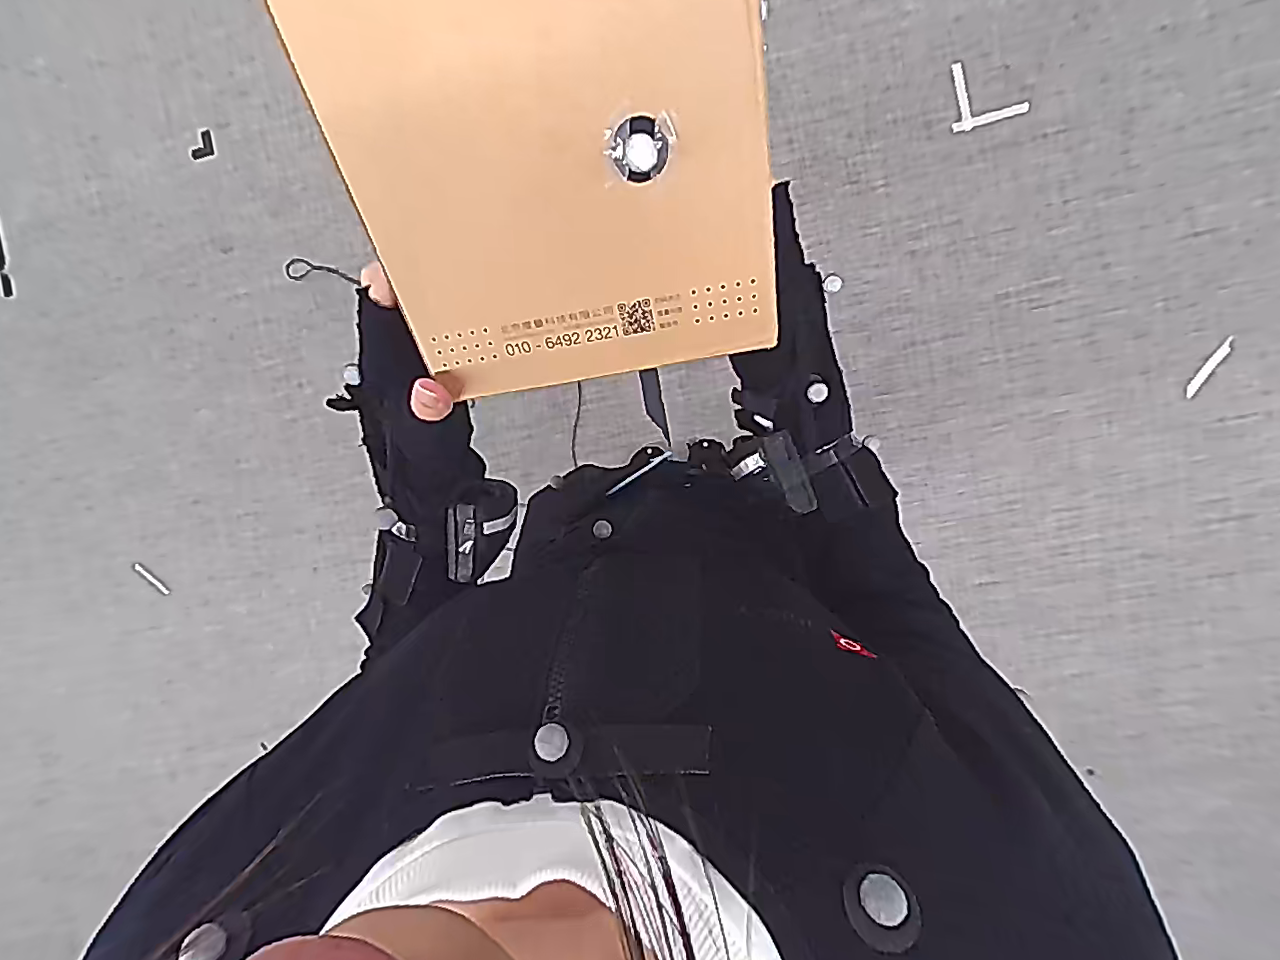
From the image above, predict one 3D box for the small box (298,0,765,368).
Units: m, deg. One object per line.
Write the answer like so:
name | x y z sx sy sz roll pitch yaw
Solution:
small box | -0.027 -0.170 0.298 0.168 0.179 0.176 -7 125 9
